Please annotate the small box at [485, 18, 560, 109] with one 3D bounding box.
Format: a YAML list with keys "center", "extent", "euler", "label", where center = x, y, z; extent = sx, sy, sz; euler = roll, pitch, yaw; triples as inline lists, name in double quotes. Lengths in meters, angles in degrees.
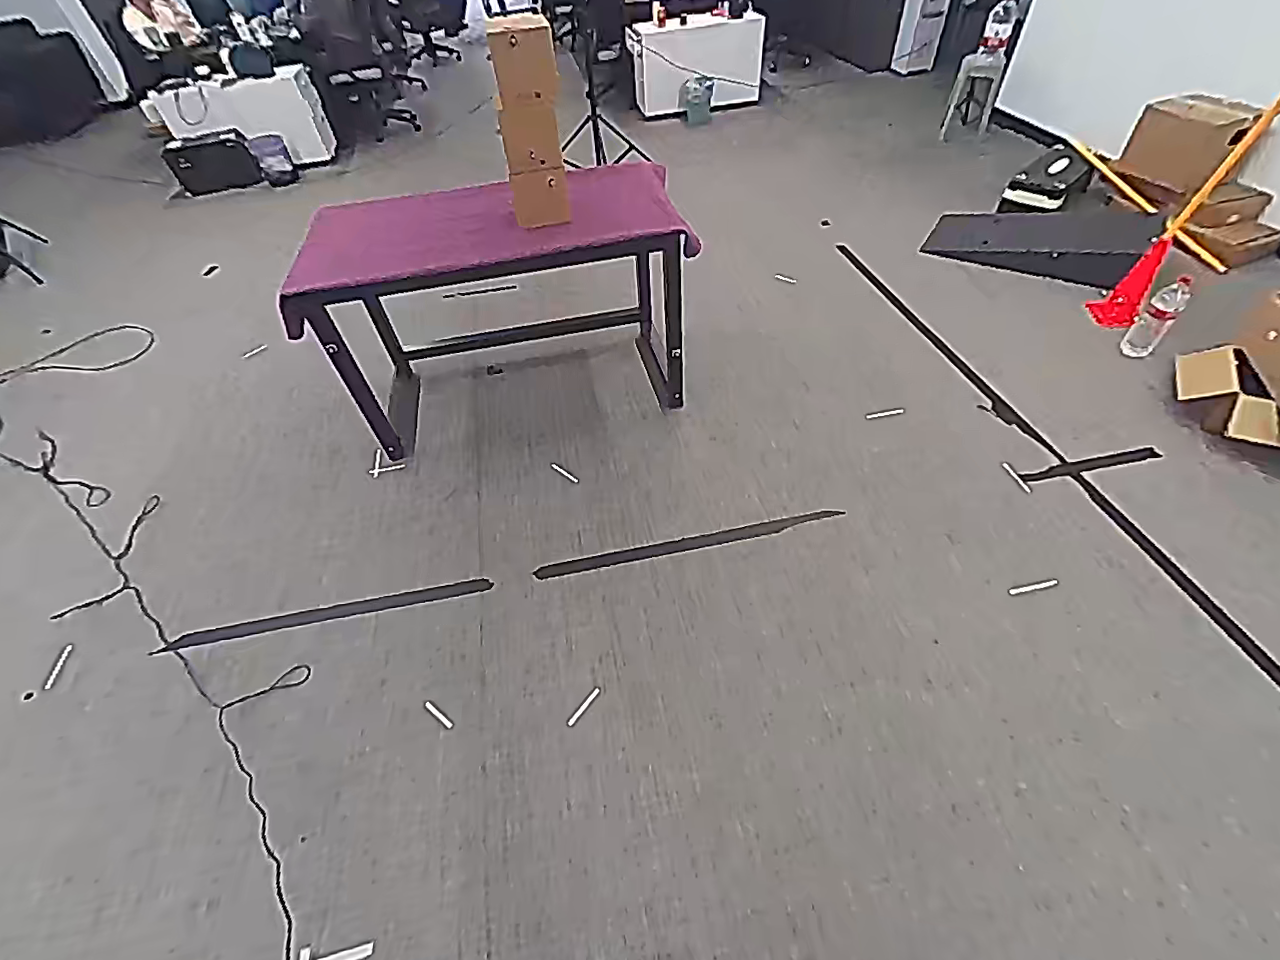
- center: [-0.324, -1.151, 1.494]
  extent: [0.168, 0.176, 0.179]
  euler: [-13, 49, -6]
  label: "small box"

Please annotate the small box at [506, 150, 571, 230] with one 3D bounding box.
- center: [-0.321, -0.931, 1.738]
  extent: [0.179, 0.176, 0.168]
  euler: [-13, 48, -5]
  label: "small box"
